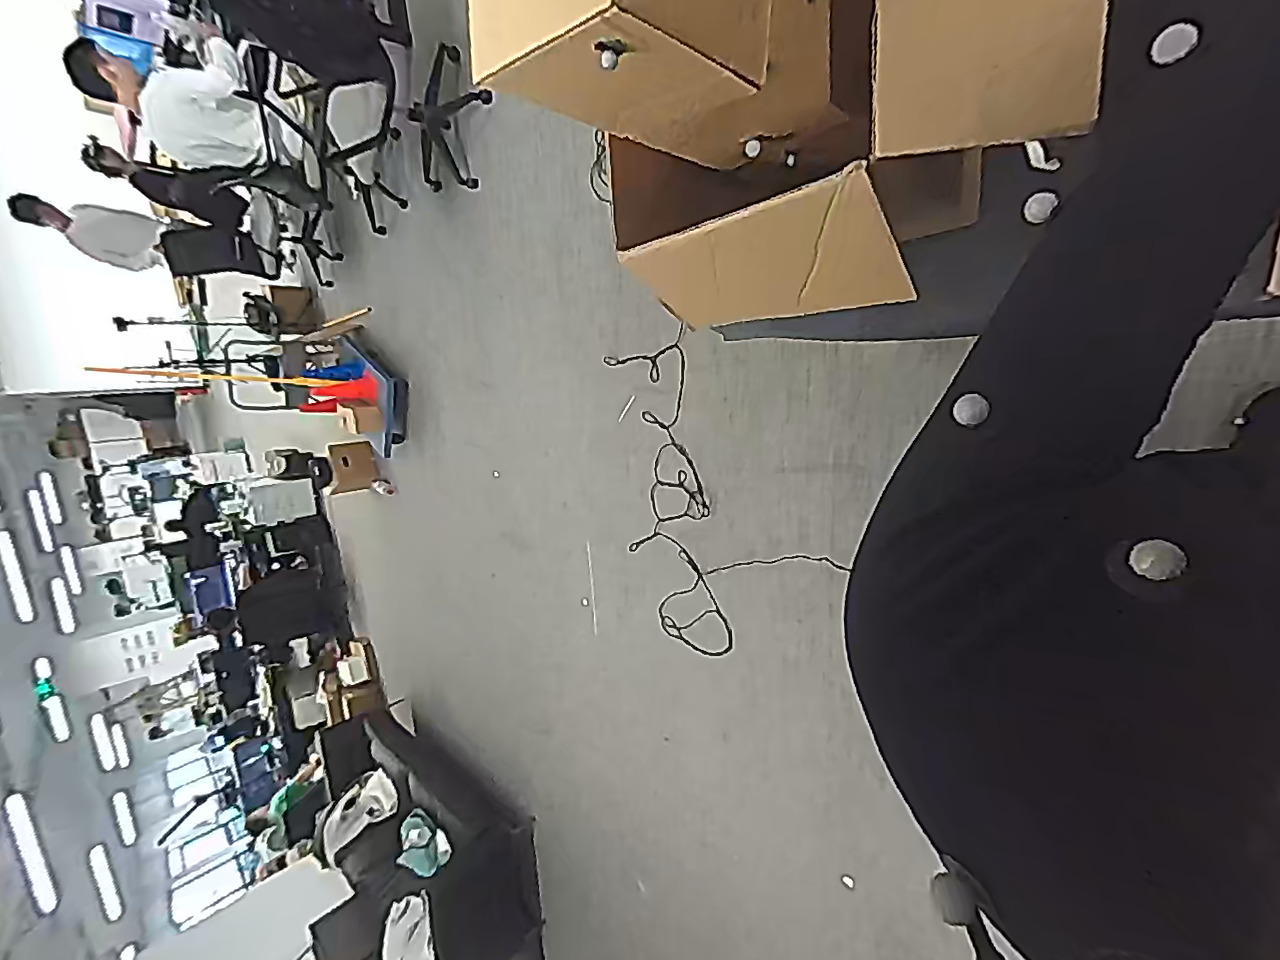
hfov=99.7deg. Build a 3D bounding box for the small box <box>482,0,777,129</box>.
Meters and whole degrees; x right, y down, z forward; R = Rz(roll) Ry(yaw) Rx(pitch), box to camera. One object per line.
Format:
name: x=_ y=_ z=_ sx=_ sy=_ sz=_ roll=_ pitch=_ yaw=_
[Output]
small box: x=-0.008 y=-0.404 z=0.425 sx=0.179 sy=0.176 sz=0.168 roll=16 pitch=112 yaw=42
